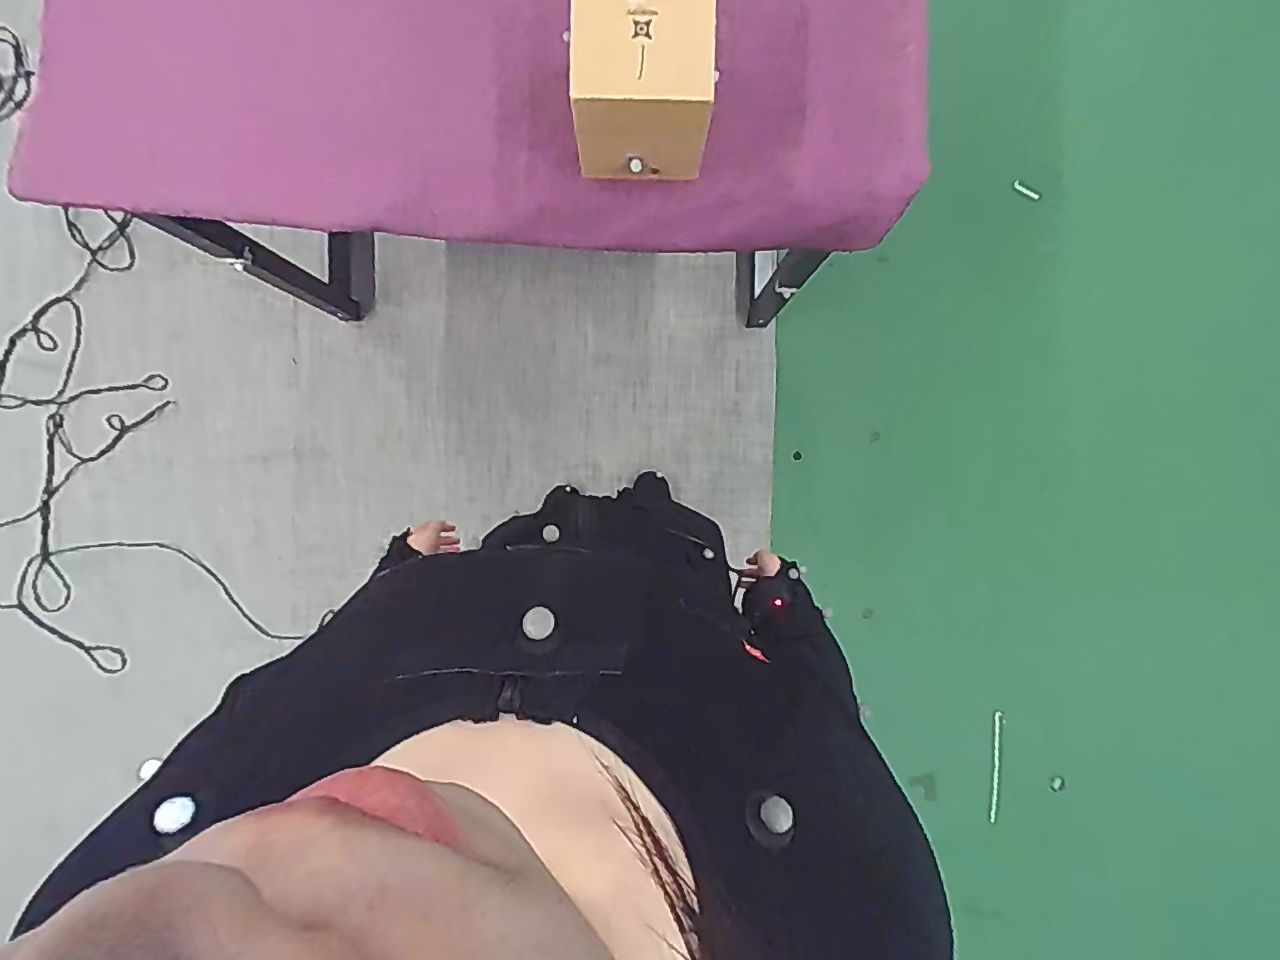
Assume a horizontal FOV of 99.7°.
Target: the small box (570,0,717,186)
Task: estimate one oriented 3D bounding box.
[{"bbox_3d":[0.003,-0.510,0.690,0.168,0.176,0.179,1,91,0],"label":"small box"}]
